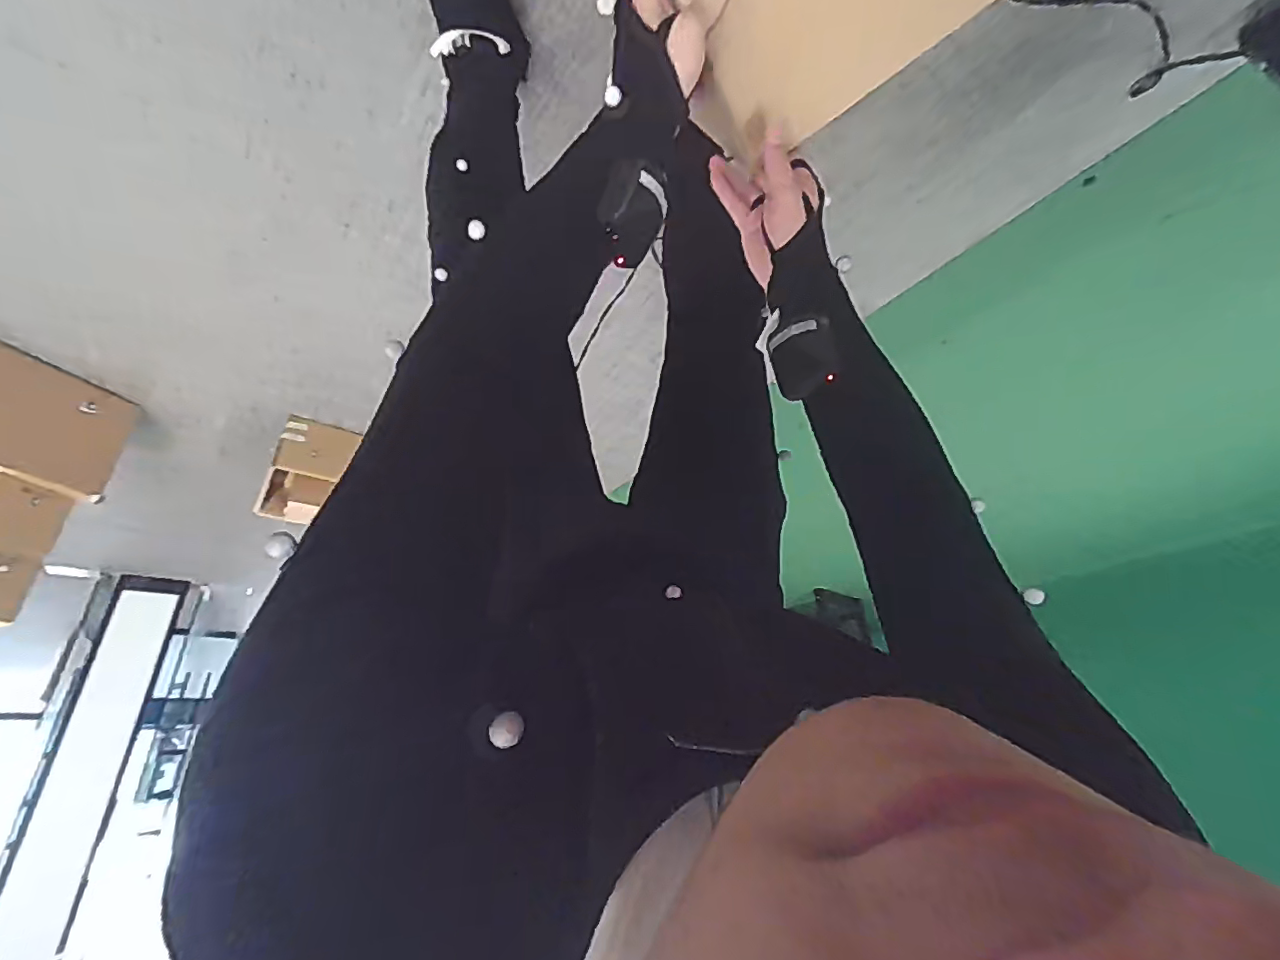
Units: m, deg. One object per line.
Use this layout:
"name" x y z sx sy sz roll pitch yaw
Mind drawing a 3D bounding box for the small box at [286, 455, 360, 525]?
"small box" -1.076 0.032 1.838 0.179 0.176 0.168 14 147 -30

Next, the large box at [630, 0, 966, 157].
"large box" 0.158 -0.589 0.459 0.408 0.320 0.320 -33 140 15

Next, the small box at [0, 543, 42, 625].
"small box" -1.582 0.240 1.264 0.179 0.176 0.168 -10 152 9
